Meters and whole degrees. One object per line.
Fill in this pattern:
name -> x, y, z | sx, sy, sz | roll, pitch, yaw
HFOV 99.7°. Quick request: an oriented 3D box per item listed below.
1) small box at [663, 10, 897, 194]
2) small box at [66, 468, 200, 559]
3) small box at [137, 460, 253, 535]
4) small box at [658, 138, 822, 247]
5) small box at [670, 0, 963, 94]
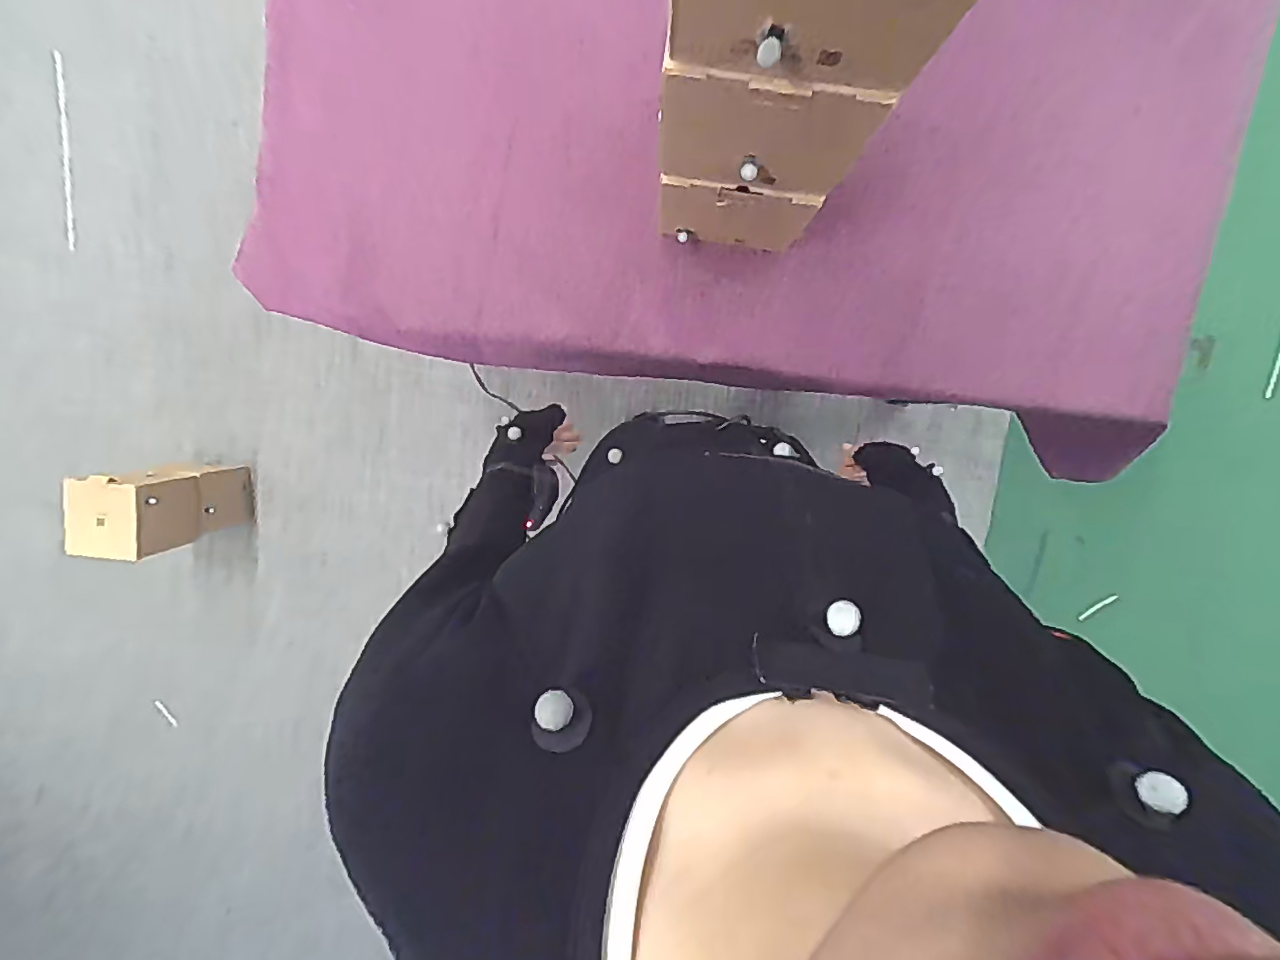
small box -> 0.111, -0.368, 0.444 | 0.168, 0.176, 0.179 | 9, 98, 1
small box -> -1.185, 0.074, 1.276 | 0.168, 0.176, 0.179 | 6, 97, 1
small box -> -1.177, 0.041, 1.436 | 0.179, 0.176, 0.168 | 6, 98, 2
small box -> 0.116, -0.381, 0.608 | 0.168, 0.176, 0.179 | 9, 97, 1
small box -> 0.107, -0.352, 0.282 | 0.168, 0.176, 0.179 | 8, 98, 1
